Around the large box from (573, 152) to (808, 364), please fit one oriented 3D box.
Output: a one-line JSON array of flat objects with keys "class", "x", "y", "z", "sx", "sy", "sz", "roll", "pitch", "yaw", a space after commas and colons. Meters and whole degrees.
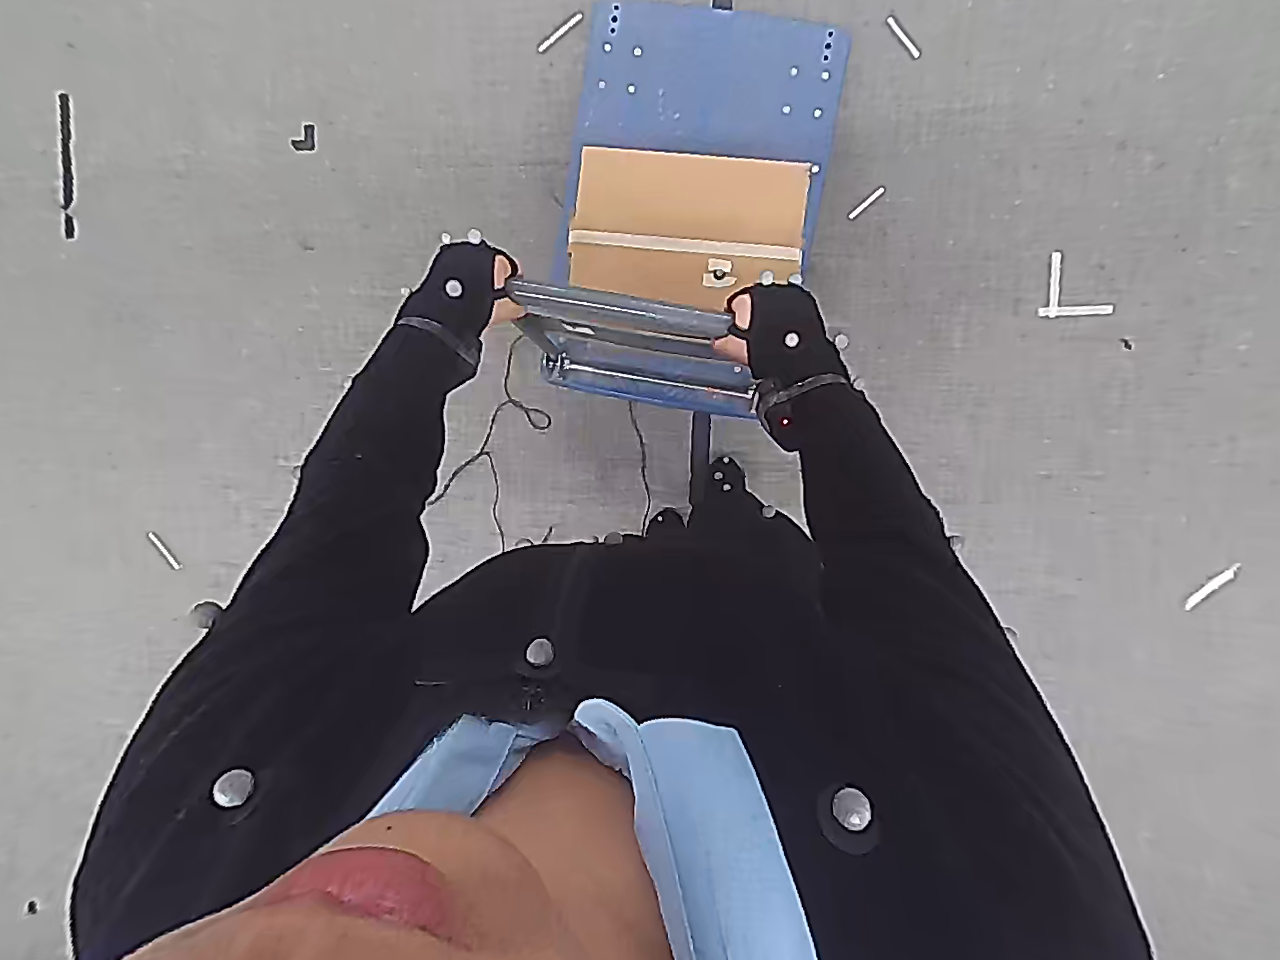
[{"class": "large box", "x": 0.093, "y": -0.430, "z": 1.121, "sx": 0.408, "sy": 0.320, "sz": 0.320, "roll": 7, "pitch": 95, "yaw": 3}]
